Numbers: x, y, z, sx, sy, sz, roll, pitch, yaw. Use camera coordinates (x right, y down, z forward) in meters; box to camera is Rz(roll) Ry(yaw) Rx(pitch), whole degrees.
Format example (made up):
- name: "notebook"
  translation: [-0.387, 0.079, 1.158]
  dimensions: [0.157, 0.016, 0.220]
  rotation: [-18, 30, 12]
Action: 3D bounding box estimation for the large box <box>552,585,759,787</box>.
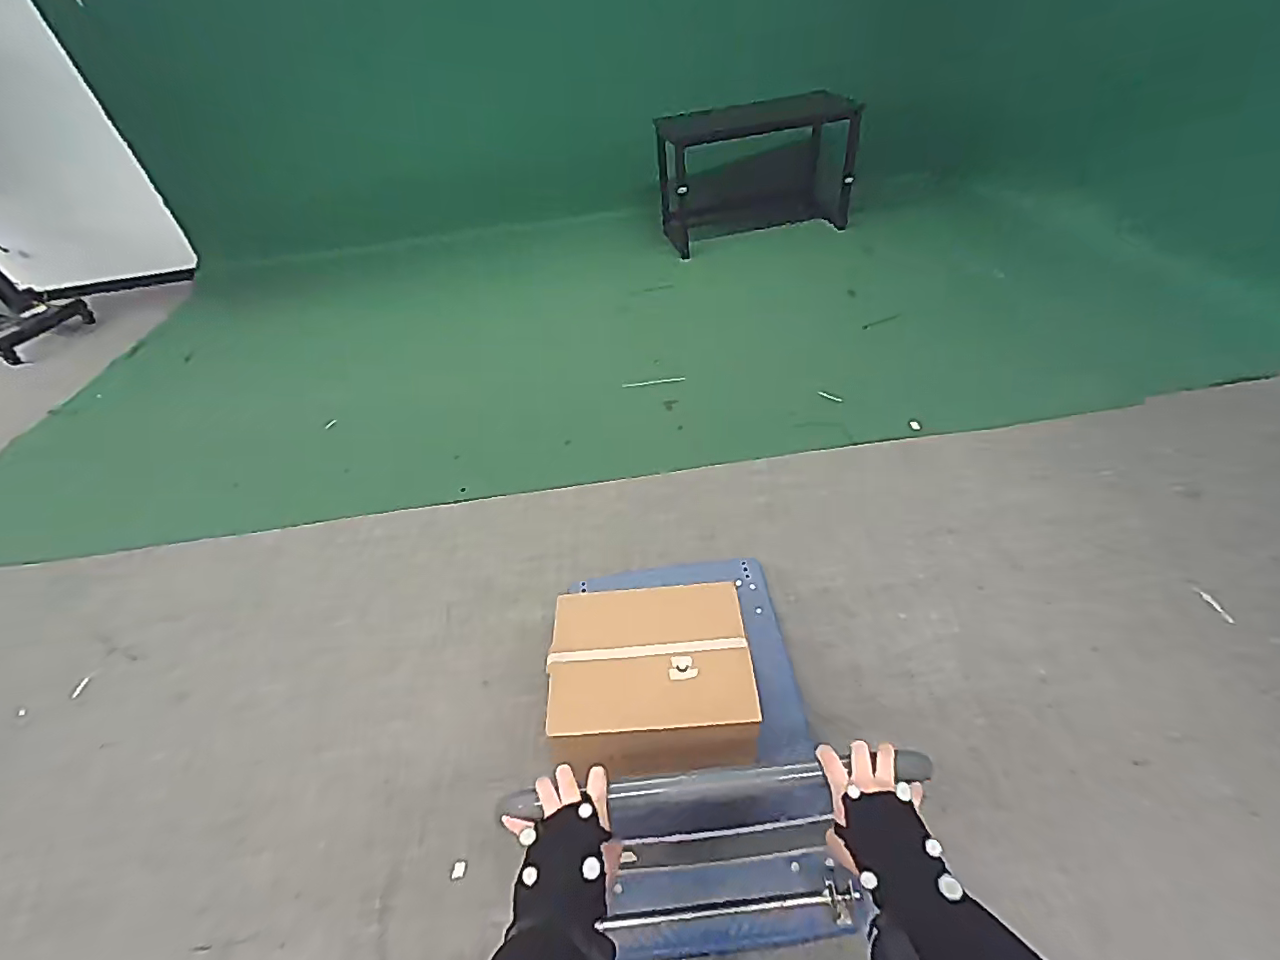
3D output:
- name: "large box"
  translation: [0.031, 0.469, 1.230]
  dimensions: [0.408, 0.320, 0.320]
  rotation: [-5, 43, 1]
